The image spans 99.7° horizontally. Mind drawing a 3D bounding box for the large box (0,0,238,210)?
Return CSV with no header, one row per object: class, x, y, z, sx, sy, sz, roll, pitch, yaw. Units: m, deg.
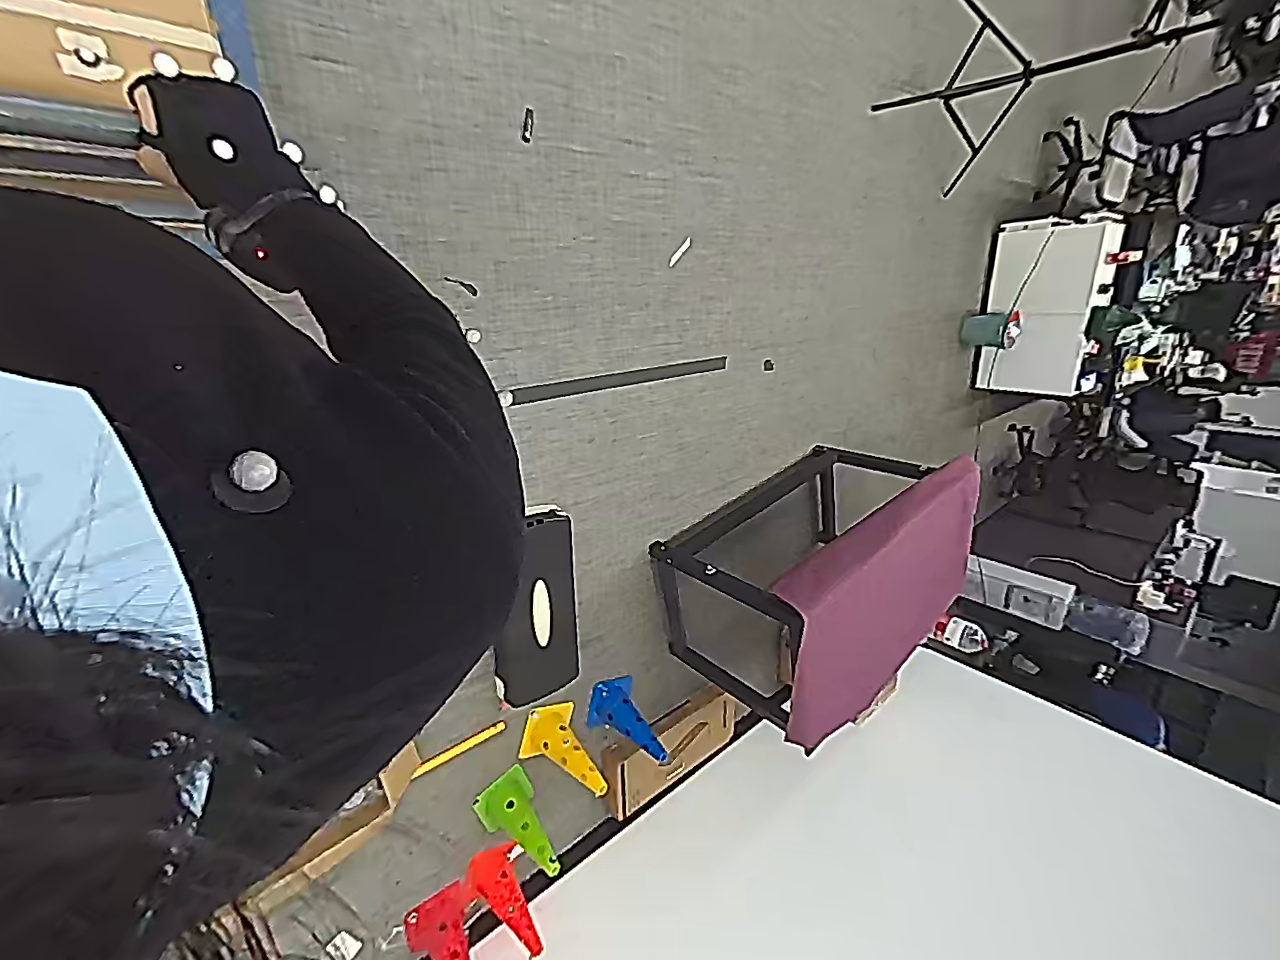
large box,-0.830,-0.567,0.722,0.408,0.320,0.320,-15,113,-38
